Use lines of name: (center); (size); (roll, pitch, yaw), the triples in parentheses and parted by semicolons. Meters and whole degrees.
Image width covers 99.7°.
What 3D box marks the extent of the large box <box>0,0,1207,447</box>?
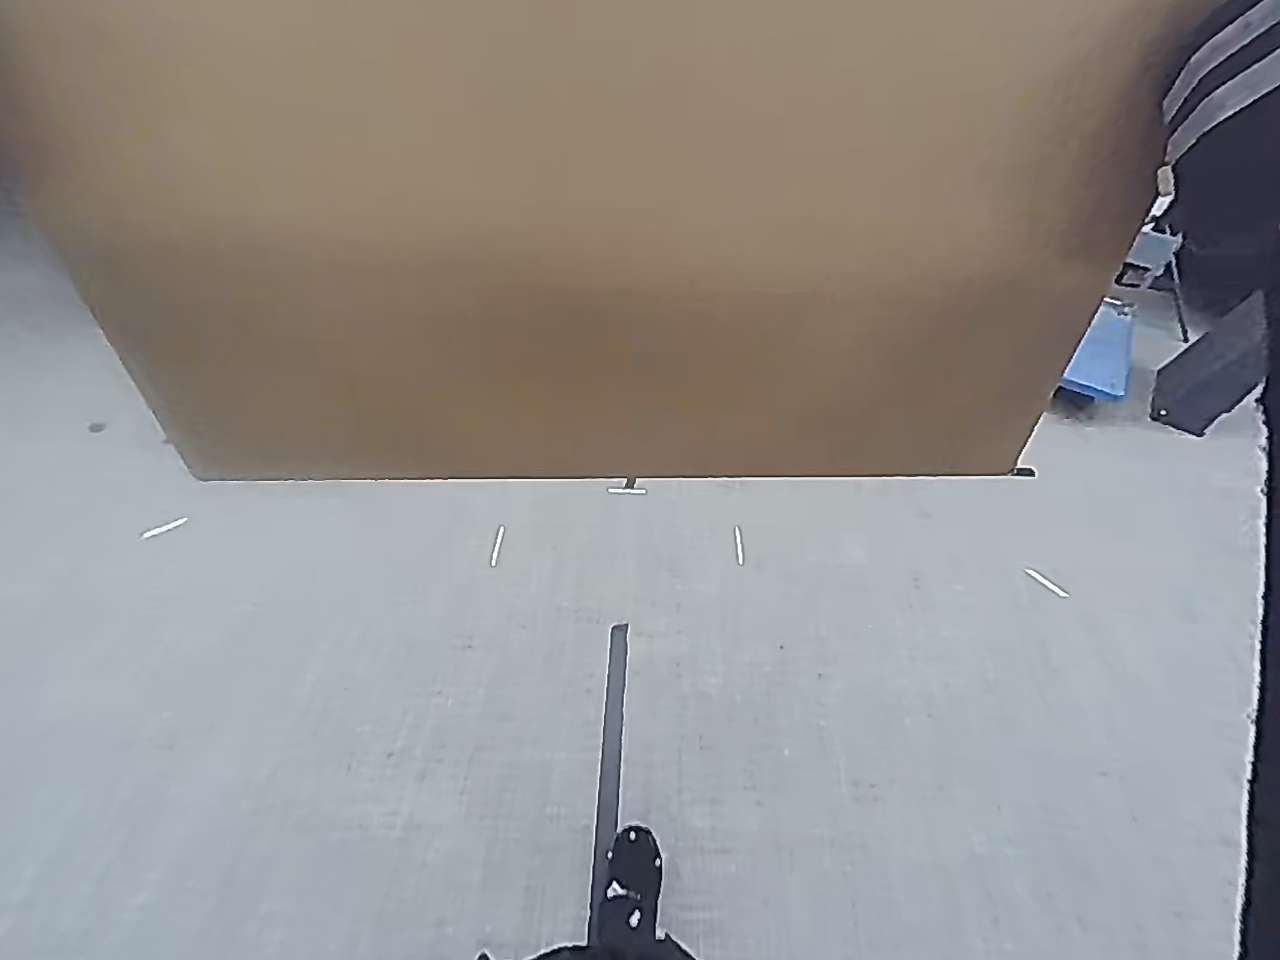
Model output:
large box: (-0.014, -0.224, 0.304); (0.408, 0.320, 0.320); (0, 38, -2)
